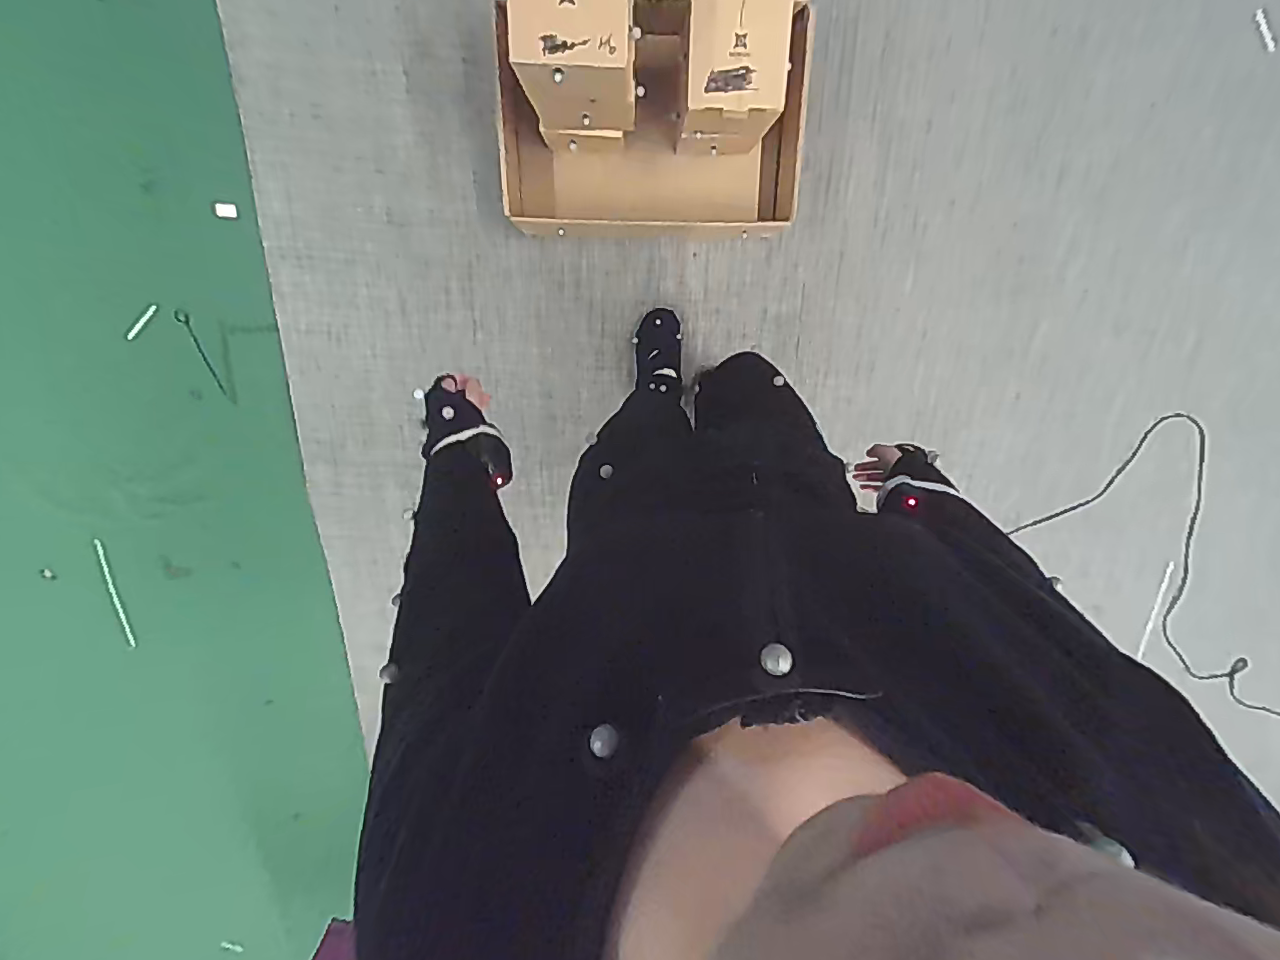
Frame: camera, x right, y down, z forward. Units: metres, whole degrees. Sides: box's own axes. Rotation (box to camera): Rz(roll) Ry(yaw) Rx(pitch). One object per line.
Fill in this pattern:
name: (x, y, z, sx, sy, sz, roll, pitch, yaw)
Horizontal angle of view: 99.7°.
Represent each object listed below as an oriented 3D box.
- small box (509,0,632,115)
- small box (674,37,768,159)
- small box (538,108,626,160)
small box: (-0.097, -0.676, 0.803, 0.168, 0.176, 0.179, 2, 108, -1)
small box: (0.160, -0.777, 1.117, 0.168, 0.176, 0.179, 0, 109, 0)
small box: (-0.114, -0.780, 1.115, 0.168, 0.176, 0.179, 3, 109, -3)
